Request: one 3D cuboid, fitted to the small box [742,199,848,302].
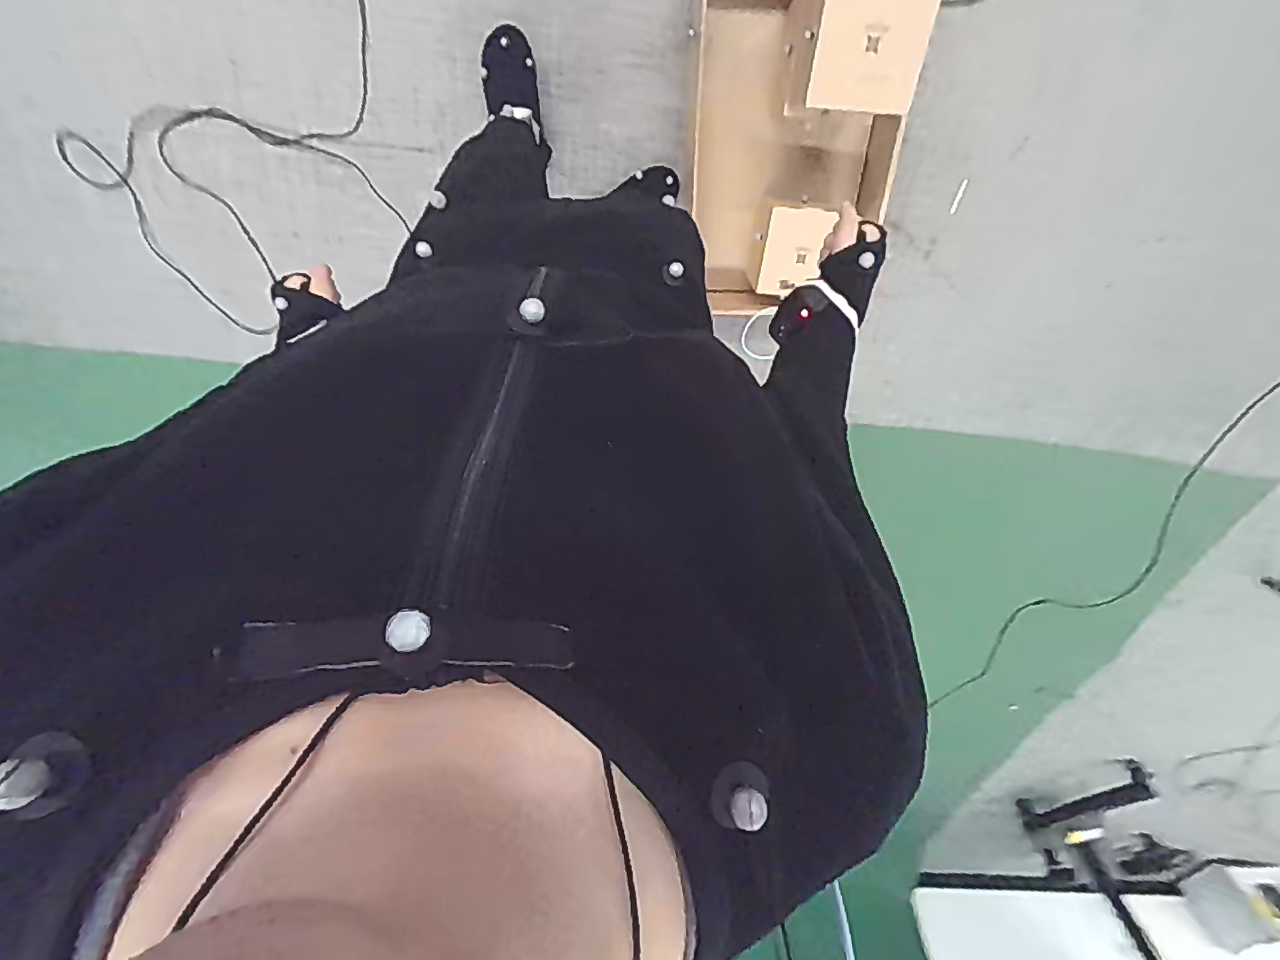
[{"bbox_3d":[0.329,-0.510,1.192,0.168,0.176,0.179,5,124,-3],"label":"small box"}]

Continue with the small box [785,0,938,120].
[{"bbox_3d":[0.343,-0.693,0.869,0.168,0.176,0.179,5,125,-1],"label":"small box"}]
